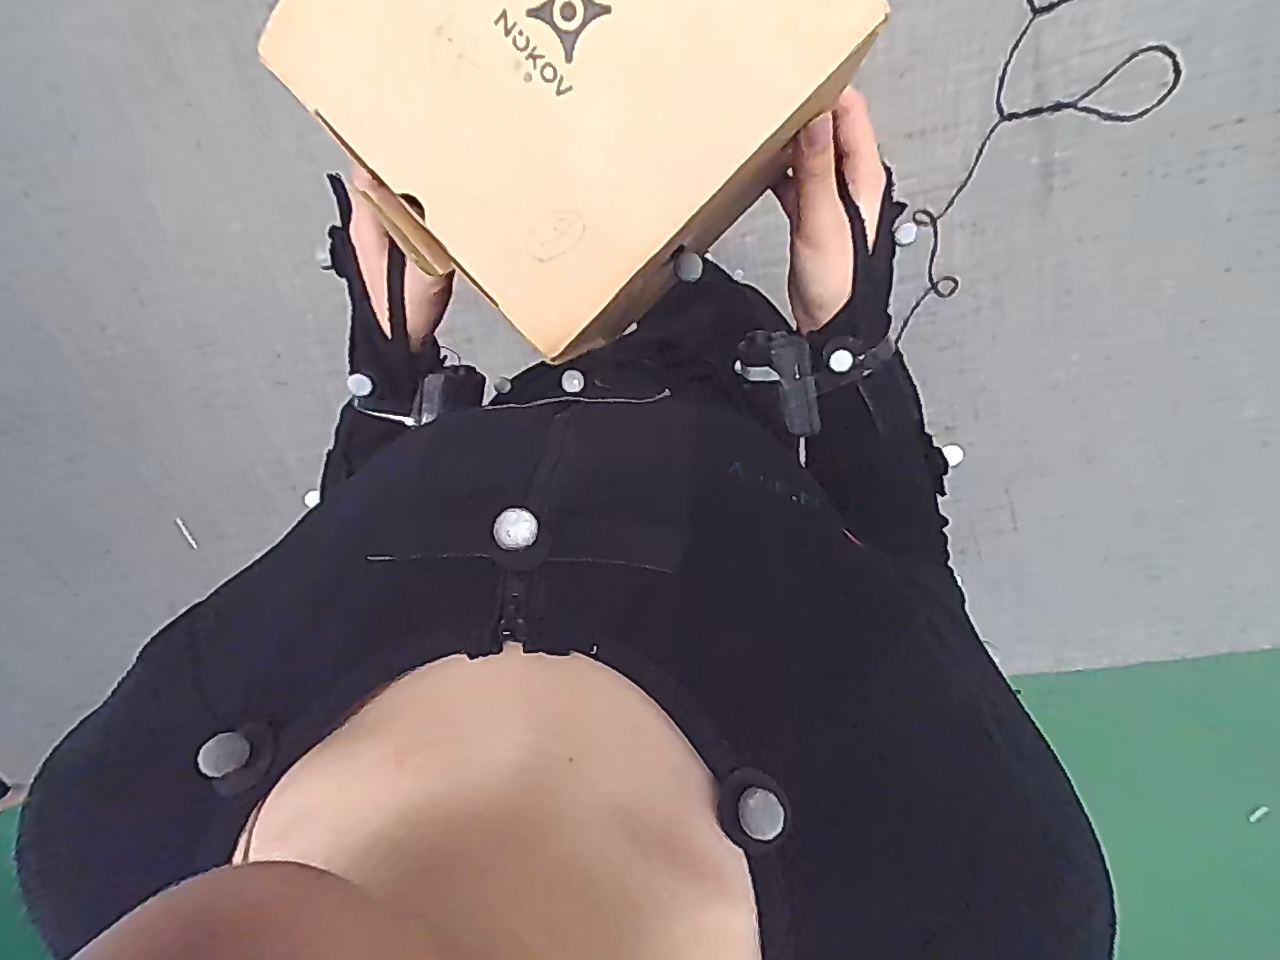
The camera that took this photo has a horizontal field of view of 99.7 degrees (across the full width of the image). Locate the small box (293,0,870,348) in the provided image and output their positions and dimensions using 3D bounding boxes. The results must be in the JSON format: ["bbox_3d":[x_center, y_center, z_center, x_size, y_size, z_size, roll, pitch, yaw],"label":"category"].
[{"bbox_3d":[-0.020,-0.193,0.286,0.179,0.176,0.168,-41,99,16],"label":"small box"}]
